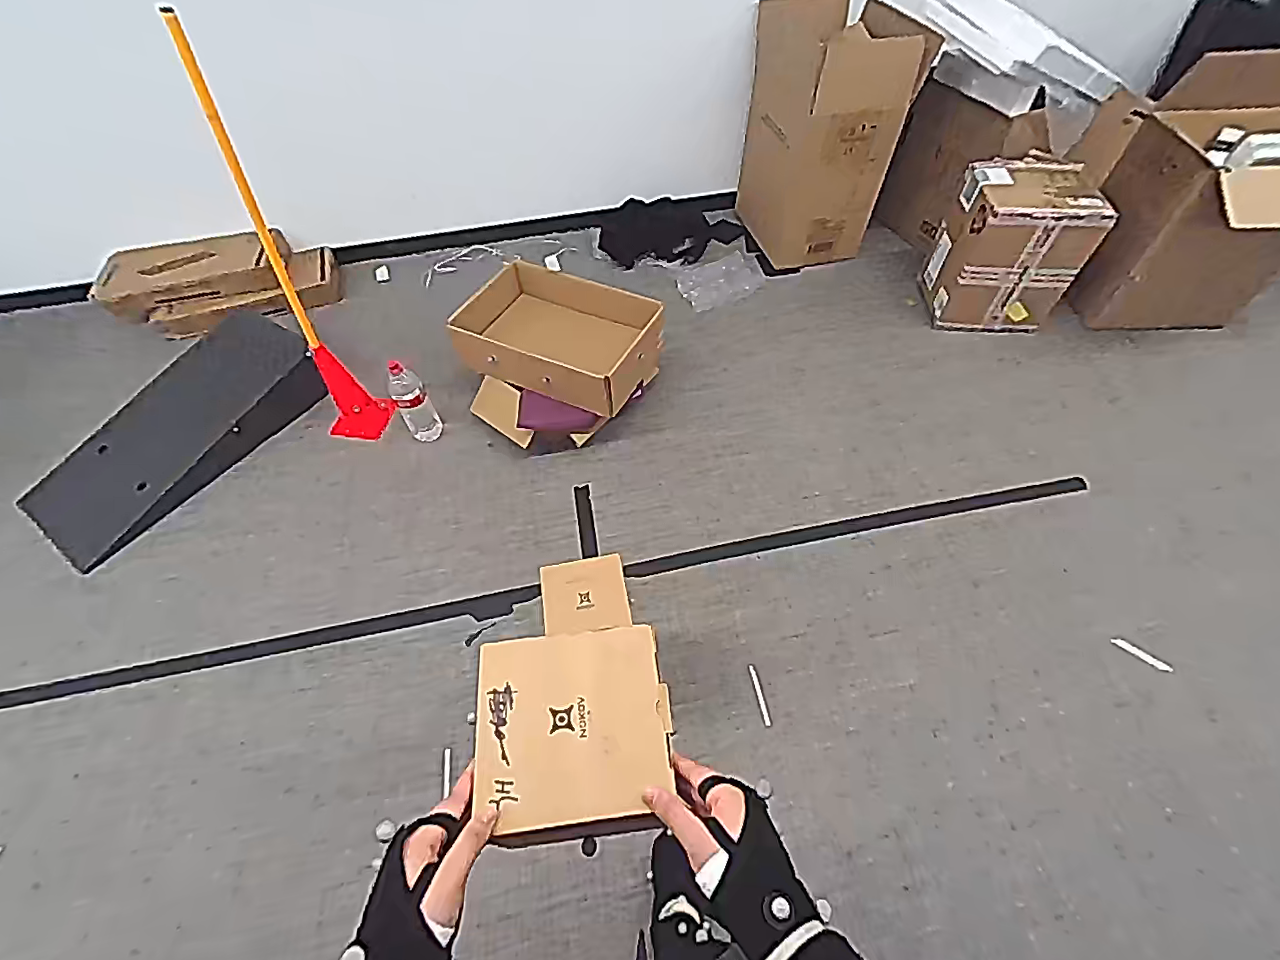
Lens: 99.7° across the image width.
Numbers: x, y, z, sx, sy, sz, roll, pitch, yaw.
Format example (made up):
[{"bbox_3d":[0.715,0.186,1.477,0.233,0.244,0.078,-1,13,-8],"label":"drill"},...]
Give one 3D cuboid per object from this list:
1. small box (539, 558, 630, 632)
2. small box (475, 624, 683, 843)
[{"bbox_3d":[-0.107,0.285,1.109,0.168,0.176,0.179,-9,54,-6],"label":"small box"},{"bbox_3d":[-0.061,0.265,0.562,0.179,0.176,0.168,-4,52,-5],"label":"small box"}]
